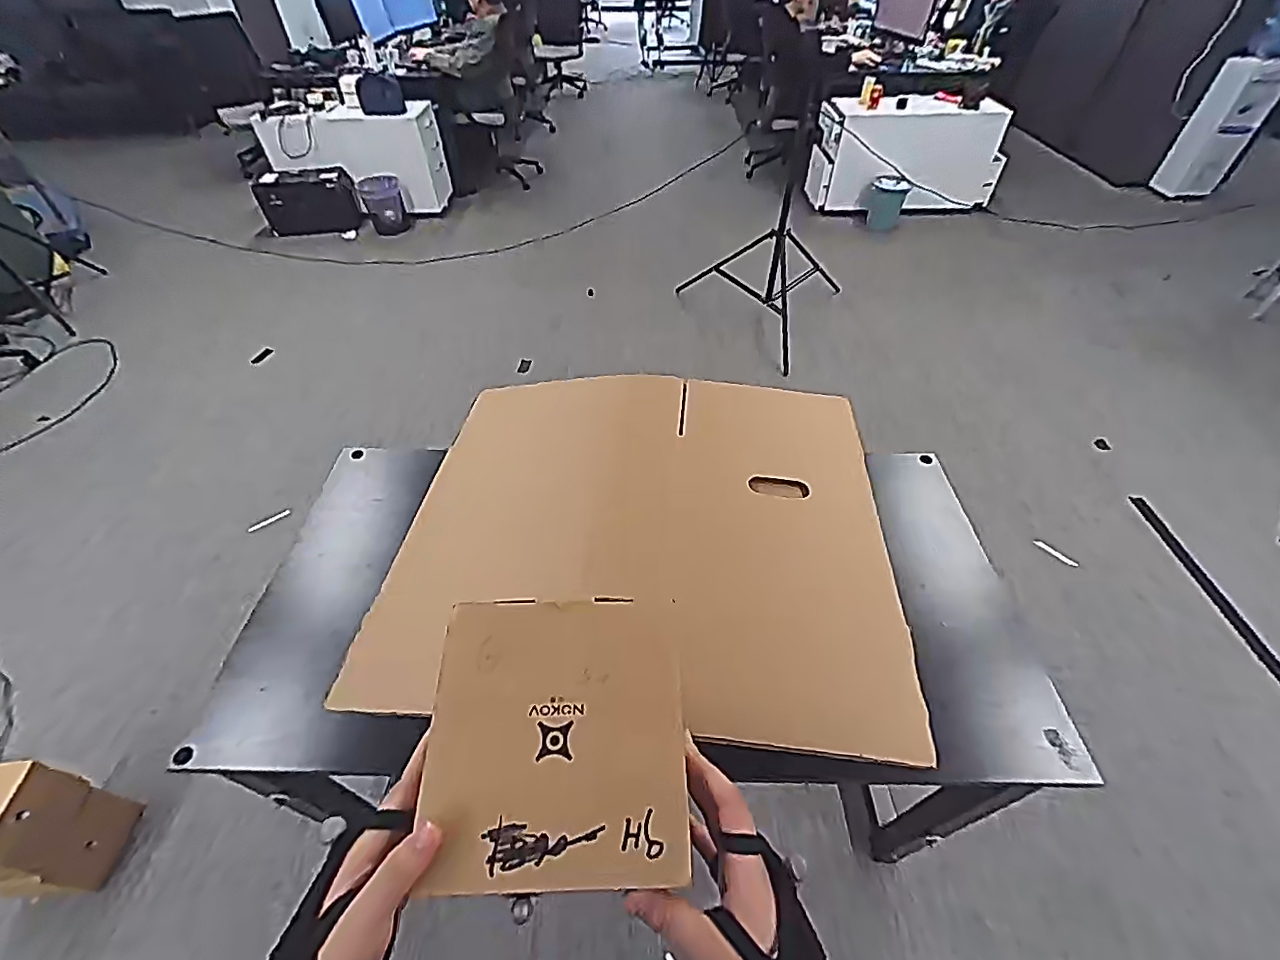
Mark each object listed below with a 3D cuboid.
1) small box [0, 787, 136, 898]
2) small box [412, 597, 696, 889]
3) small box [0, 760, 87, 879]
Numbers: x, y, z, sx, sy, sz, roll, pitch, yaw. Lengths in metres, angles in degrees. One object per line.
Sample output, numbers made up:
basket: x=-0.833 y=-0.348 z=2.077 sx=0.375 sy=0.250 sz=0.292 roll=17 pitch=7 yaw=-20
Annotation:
small box: x=-1.284 y=0.802 z=1.195 sx=0.168 sy=0.176 sz=0.179 roll=-3 pitch=47 yaw=-2
small box: x=-0.051 y=0.206 z=0.420 sx=0.168 sy=0.176 sz=0.179 roll=-1 pitch=55 yaw=-1
small box: x=-1.286 y=0.686 z=1.080 sx=0.168 sy=0.176 sz=0.179 roll=-4 pitch=46 yaw=-5
